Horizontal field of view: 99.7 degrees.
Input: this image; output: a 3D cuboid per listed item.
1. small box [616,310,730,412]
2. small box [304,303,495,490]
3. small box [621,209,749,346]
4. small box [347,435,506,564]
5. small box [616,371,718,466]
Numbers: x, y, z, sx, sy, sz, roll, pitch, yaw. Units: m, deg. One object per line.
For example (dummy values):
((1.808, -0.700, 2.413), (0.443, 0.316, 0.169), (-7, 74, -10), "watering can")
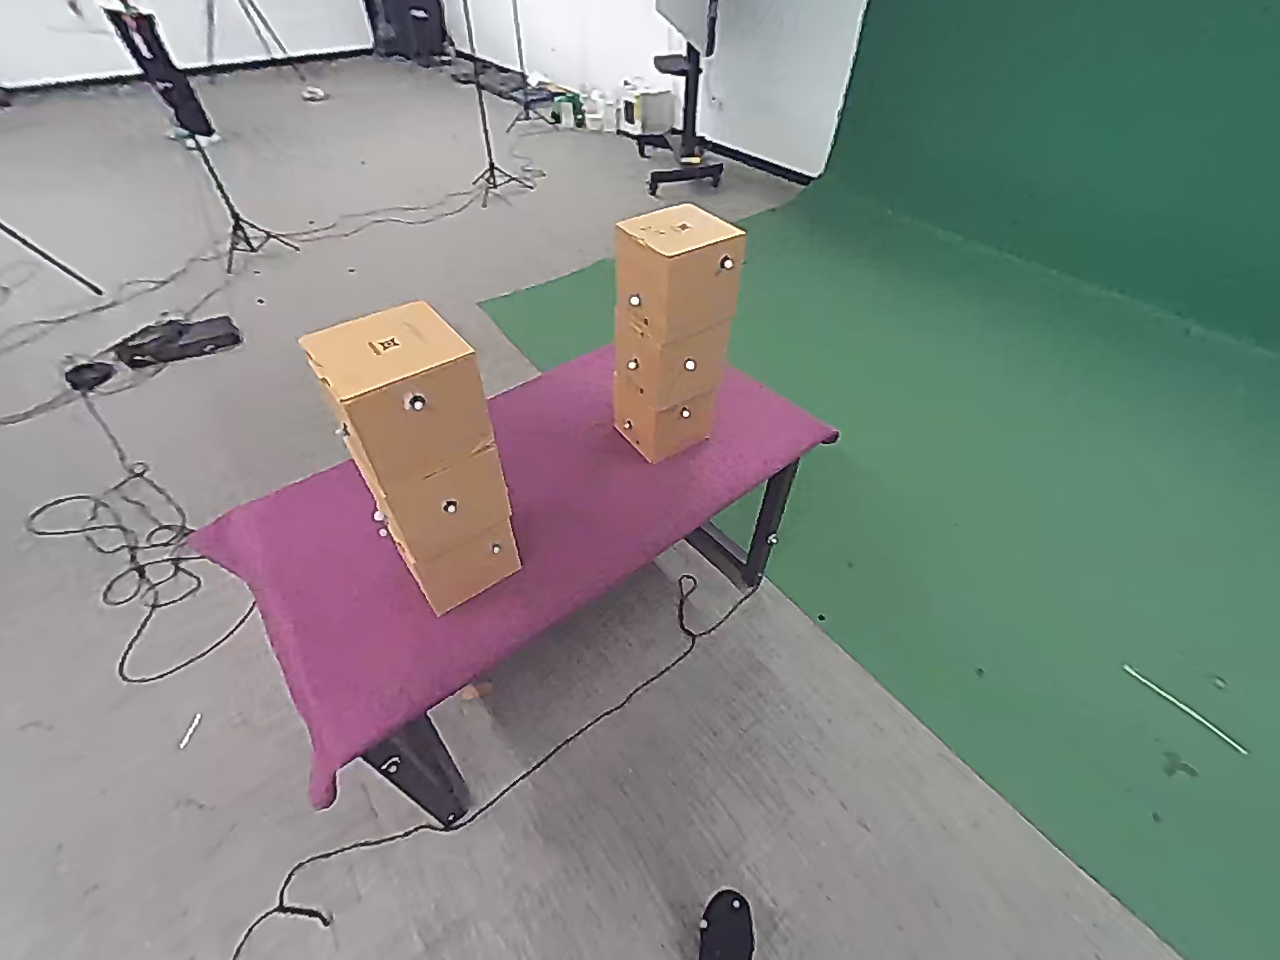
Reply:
((0.066, -0.270, 1.143), (0.179, 0.176, 0.168), (-26, 54, -22), "small box")
((-0.325, -0.115, 0.757), (0.179, 0.176, 0.168), (-28, 55, -27), "small box")
((0.077, -0.382, 1.022), (0.179, 0.176, 0.168), (-26, 53, -23), "small box")
((-0.331, 0.000, 0.872), (0.179, 0.176, 0.168), (-30, 55, -26), "small box")
((0.056, -0.166, 1.270), (0.179, 0.176, 0.168), (-26, 54, -23), "small box")
